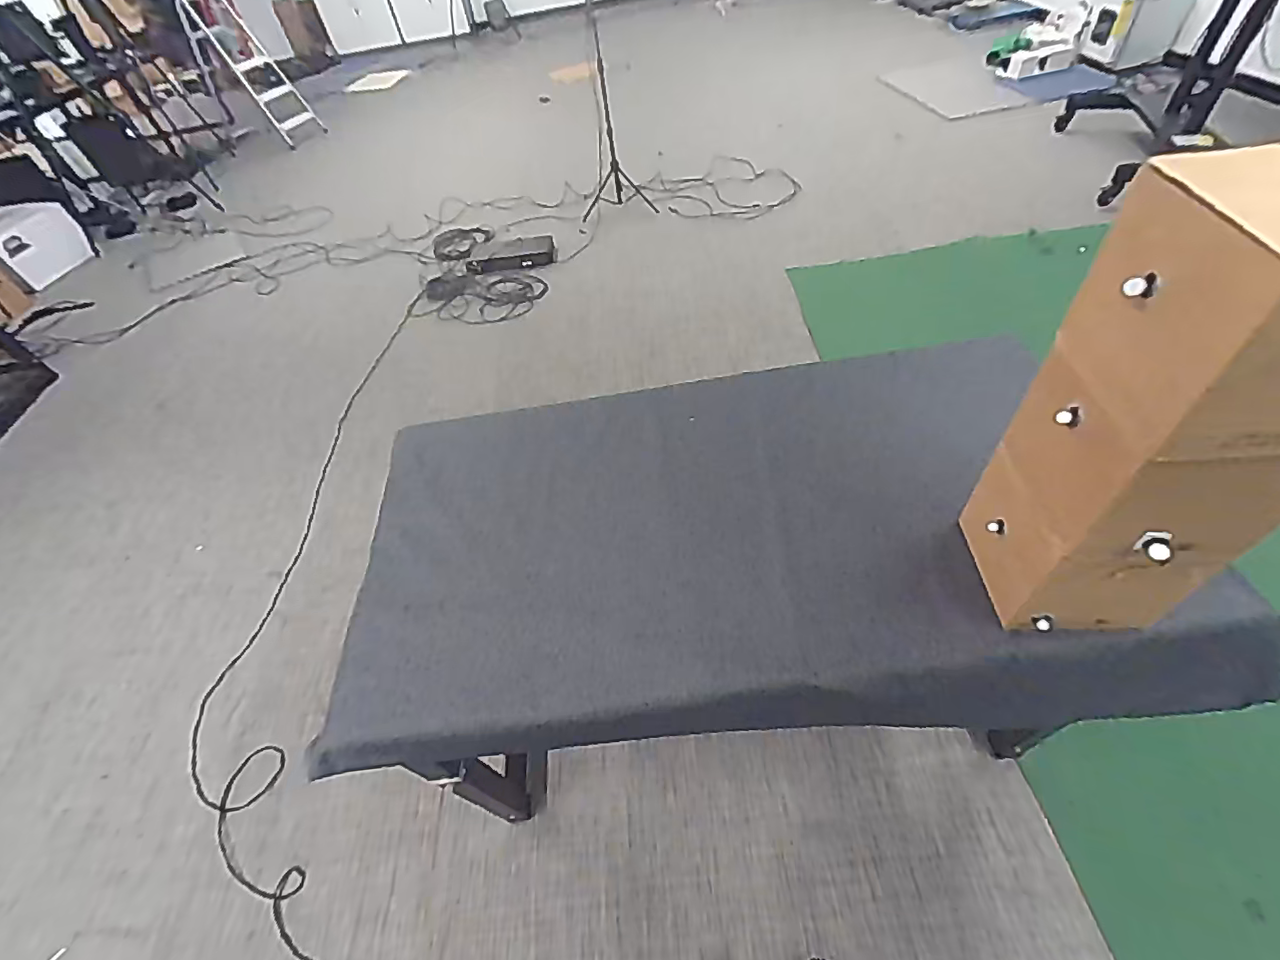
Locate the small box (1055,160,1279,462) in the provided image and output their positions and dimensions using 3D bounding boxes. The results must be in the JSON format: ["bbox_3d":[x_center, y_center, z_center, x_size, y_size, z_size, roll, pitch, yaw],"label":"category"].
[{"bbox_3d":[0.485,-0.135,0.434,0.168,0.176,0.179,-3,48,9],"label":"small box"}]

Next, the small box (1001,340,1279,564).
[{"bbox_3d":[0.512,-0.031,0.558,0.168,0.176,0.179,-3,50,9],"label":"small box"}]

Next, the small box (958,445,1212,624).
[{"bbox_3d":[0.536,0.070,0.682,0.168,0.176,0.179,-3,48,8],"label":"small box"}]
